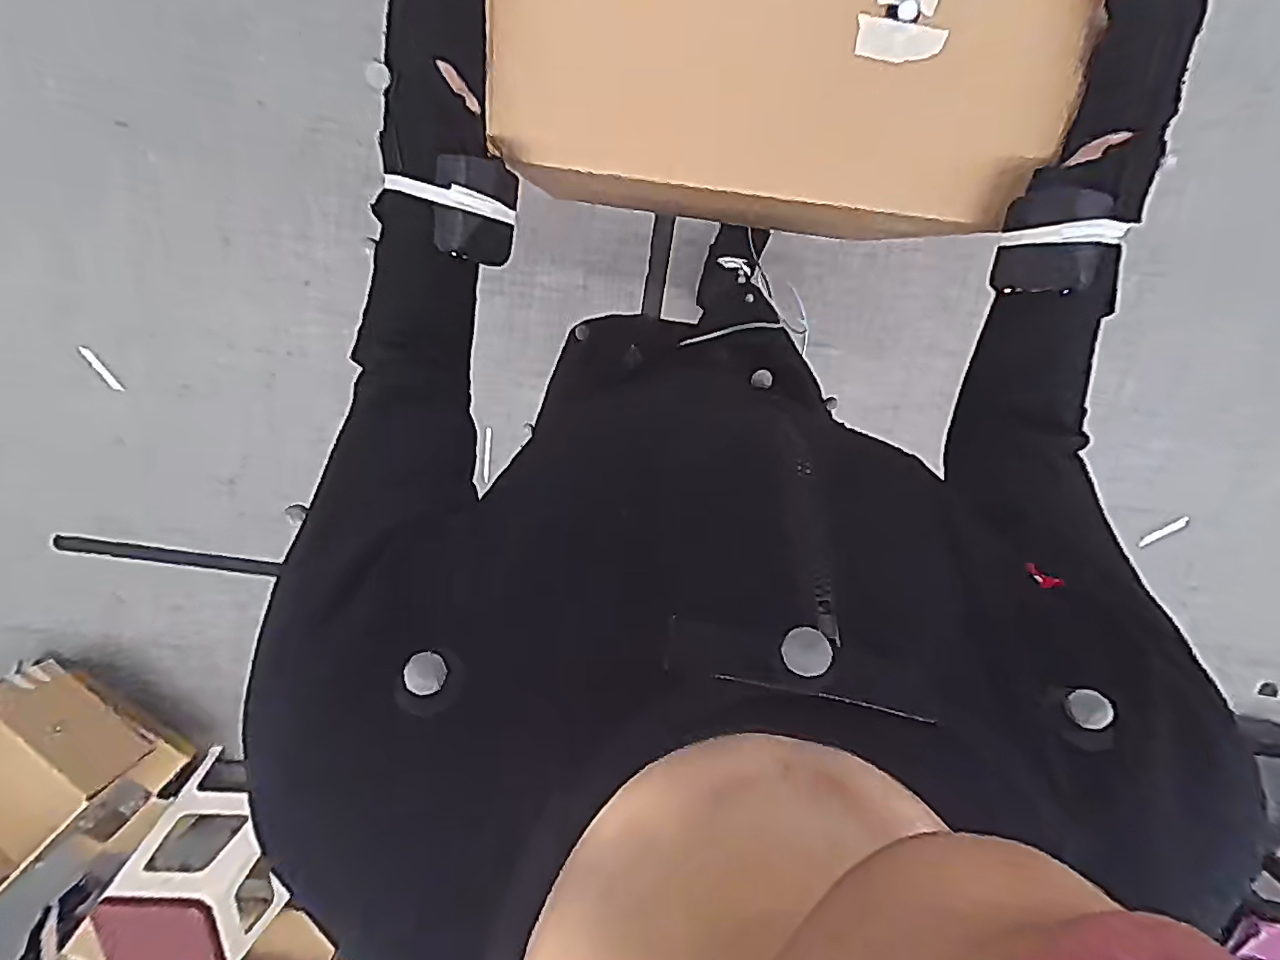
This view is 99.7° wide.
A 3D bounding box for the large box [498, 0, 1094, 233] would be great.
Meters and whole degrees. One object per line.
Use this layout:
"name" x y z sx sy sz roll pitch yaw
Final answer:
"large box" 0.104 -0.413 0.481 0.408 0.320 0.320 5 114 -4
